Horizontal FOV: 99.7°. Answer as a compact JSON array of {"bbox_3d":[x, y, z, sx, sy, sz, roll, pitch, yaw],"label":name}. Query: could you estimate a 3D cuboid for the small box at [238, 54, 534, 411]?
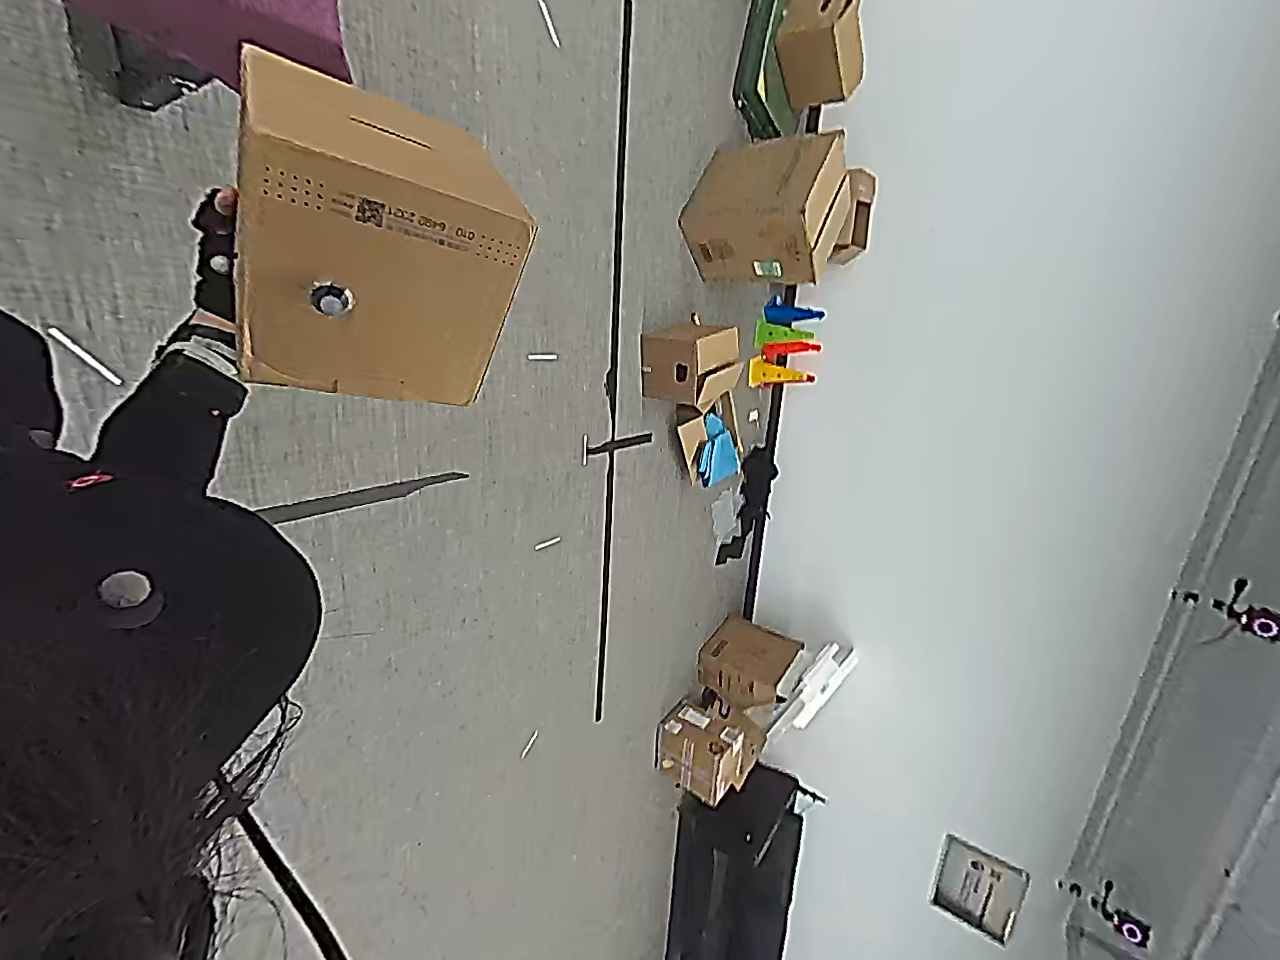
[{"bbox_3d":[-0.199,-0.179,0.412,0.168,0.179,0.176,3,134,-40],"label":"small box"}]
